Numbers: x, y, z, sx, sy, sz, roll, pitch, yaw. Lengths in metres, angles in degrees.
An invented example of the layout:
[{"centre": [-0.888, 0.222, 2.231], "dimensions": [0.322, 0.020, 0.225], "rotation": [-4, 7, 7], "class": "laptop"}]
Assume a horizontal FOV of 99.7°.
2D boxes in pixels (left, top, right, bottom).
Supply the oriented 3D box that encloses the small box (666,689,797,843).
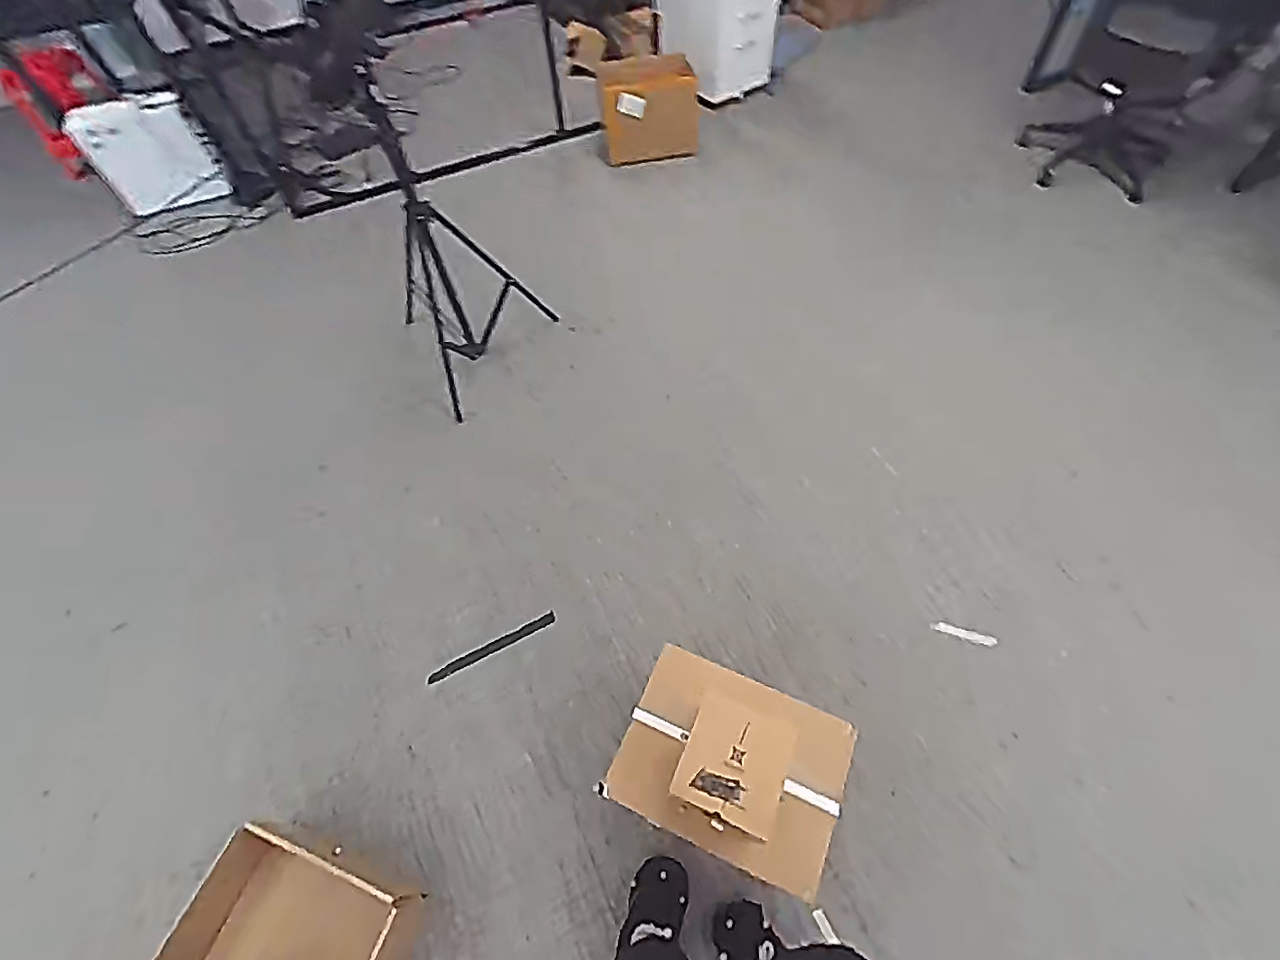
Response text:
[{"centre": [0.156, 0.498, 0.943], "dimensions": [0.168, 0.176, 0.179], "rotation": [21, 60, 15], "class": "small box"}]
